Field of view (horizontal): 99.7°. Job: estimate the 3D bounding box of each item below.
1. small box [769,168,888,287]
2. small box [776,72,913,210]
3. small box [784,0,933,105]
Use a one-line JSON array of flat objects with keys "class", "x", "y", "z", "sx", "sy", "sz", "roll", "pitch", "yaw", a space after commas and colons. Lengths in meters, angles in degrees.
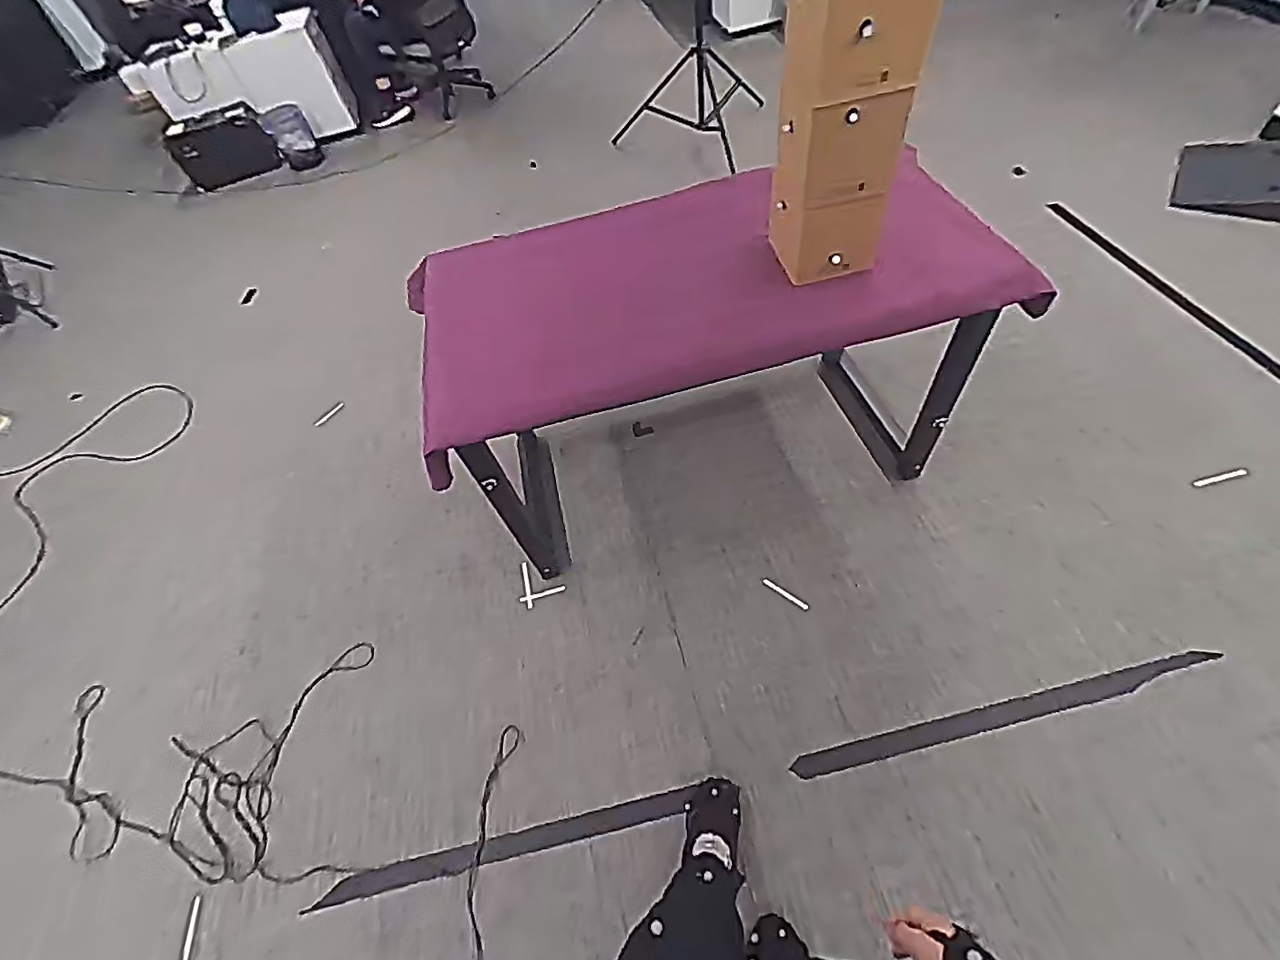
[{"class": "small box", "x": 0.368, "y": -0.523, "z": 1.094, "sx": 0.168, "sy": 0.176, "sz": 0.179, "roll": -13, "pitch": 55, "yaw": 1}, {"class": "small box", "x": 0.346, "y": -0.611, "z": 0.957, "sx": 0.168, "sy": 0.176, "sz": 0.179, "roll": -12, "pitch": 54, "yaw": 2}, {"class": "small box", "x": 0.325, "y": -0.697, "z": 0.820, "sx": 0.168, "sy": 0.176, "sz": 0.179, "roll": -12, "pitch": 54, "yaw": 2}]
